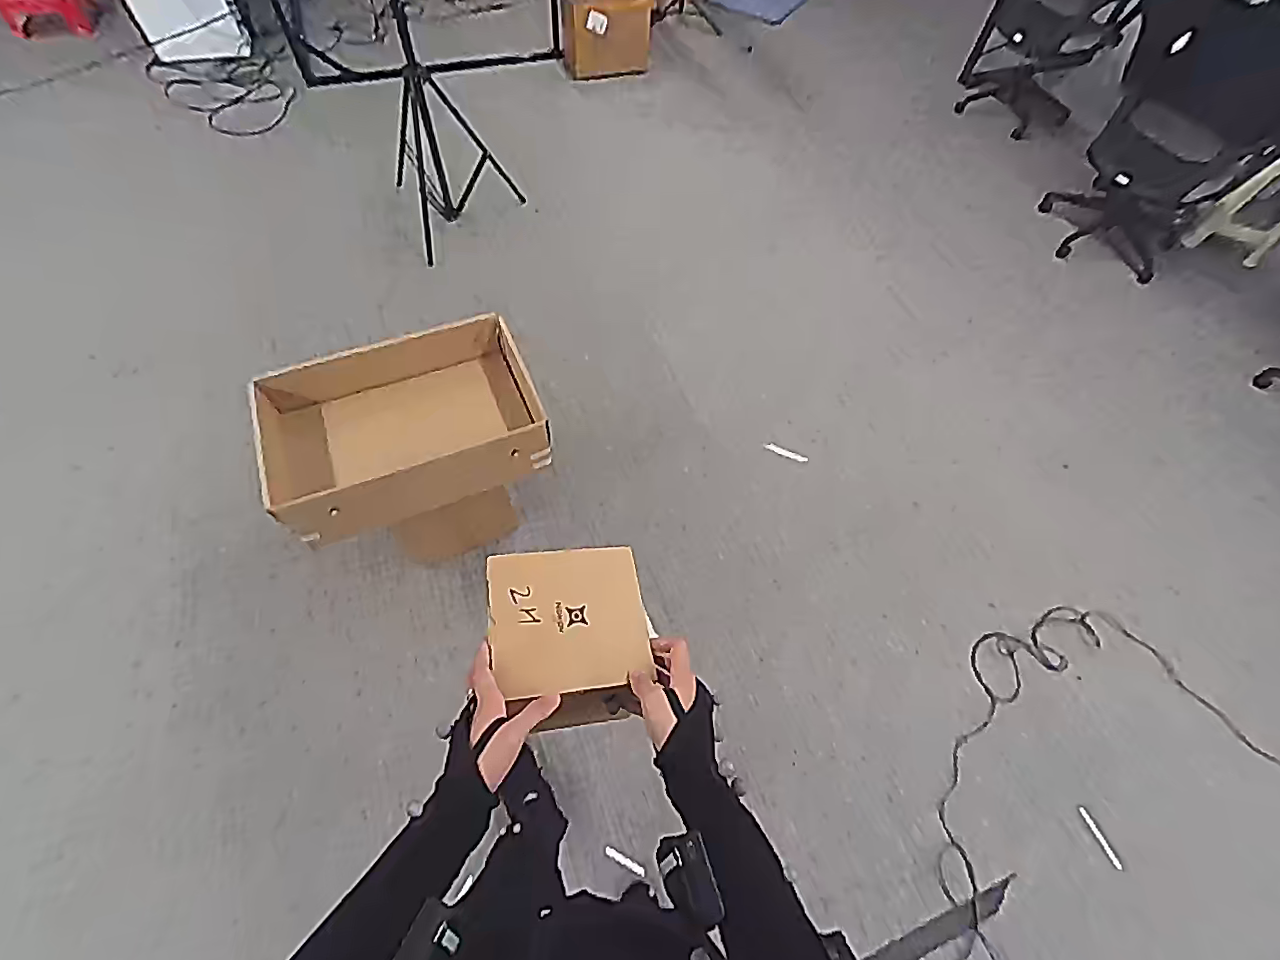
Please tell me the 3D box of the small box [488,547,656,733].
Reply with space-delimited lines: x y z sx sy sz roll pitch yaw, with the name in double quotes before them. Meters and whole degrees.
"small box" -0.095 0.197 0.663 0.179 0.176 0.168 -2 54 -15
